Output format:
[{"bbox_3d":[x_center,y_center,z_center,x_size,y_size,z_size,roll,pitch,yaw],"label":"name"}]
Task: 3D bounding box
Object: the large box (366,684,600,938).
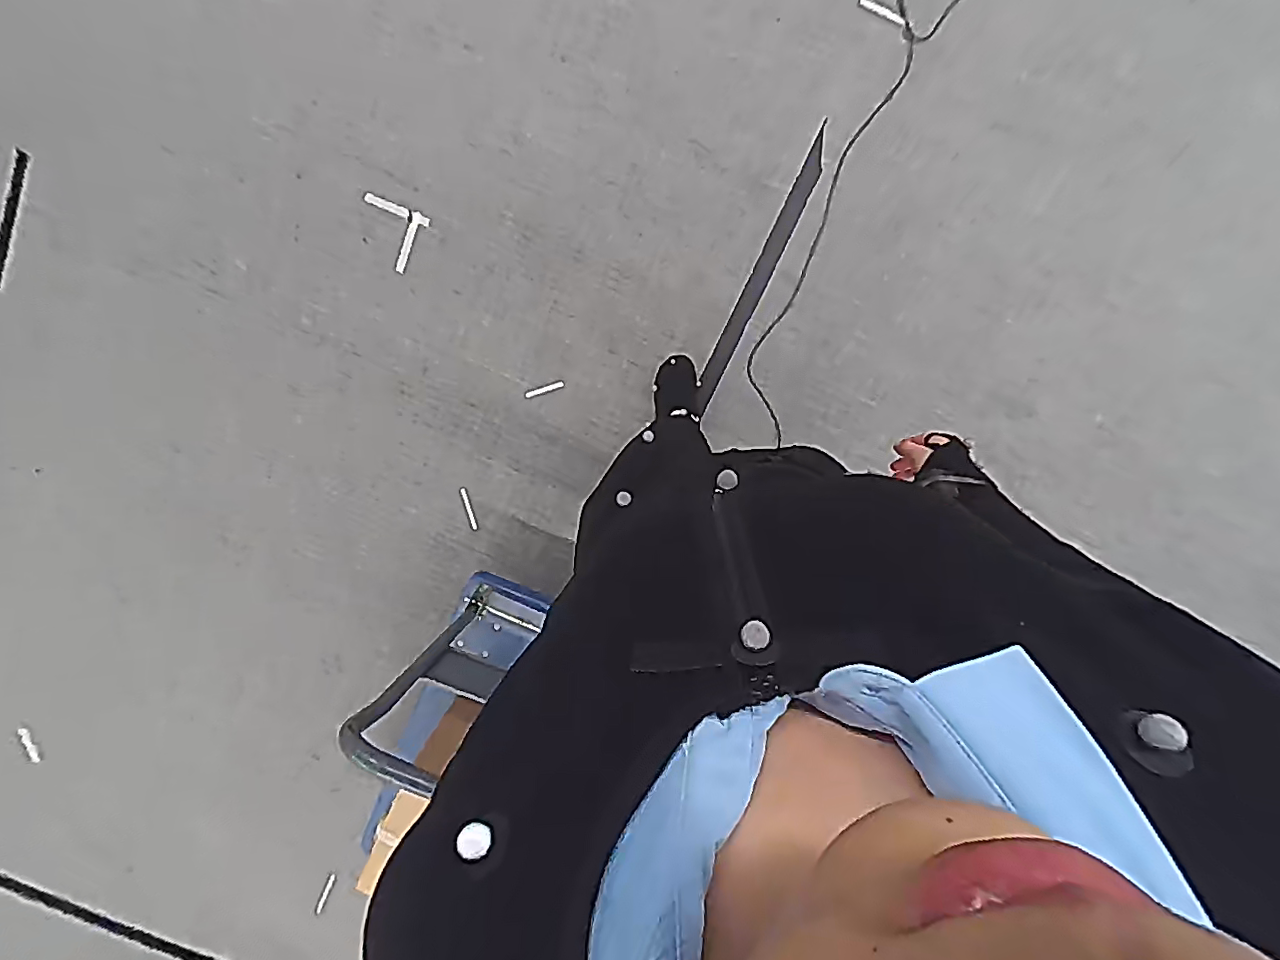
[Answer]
[{"bbox_3d":[-0.346,0.761,1.291,0.408,0.320,0.320,25,99,-4],"label":"large box"}]
